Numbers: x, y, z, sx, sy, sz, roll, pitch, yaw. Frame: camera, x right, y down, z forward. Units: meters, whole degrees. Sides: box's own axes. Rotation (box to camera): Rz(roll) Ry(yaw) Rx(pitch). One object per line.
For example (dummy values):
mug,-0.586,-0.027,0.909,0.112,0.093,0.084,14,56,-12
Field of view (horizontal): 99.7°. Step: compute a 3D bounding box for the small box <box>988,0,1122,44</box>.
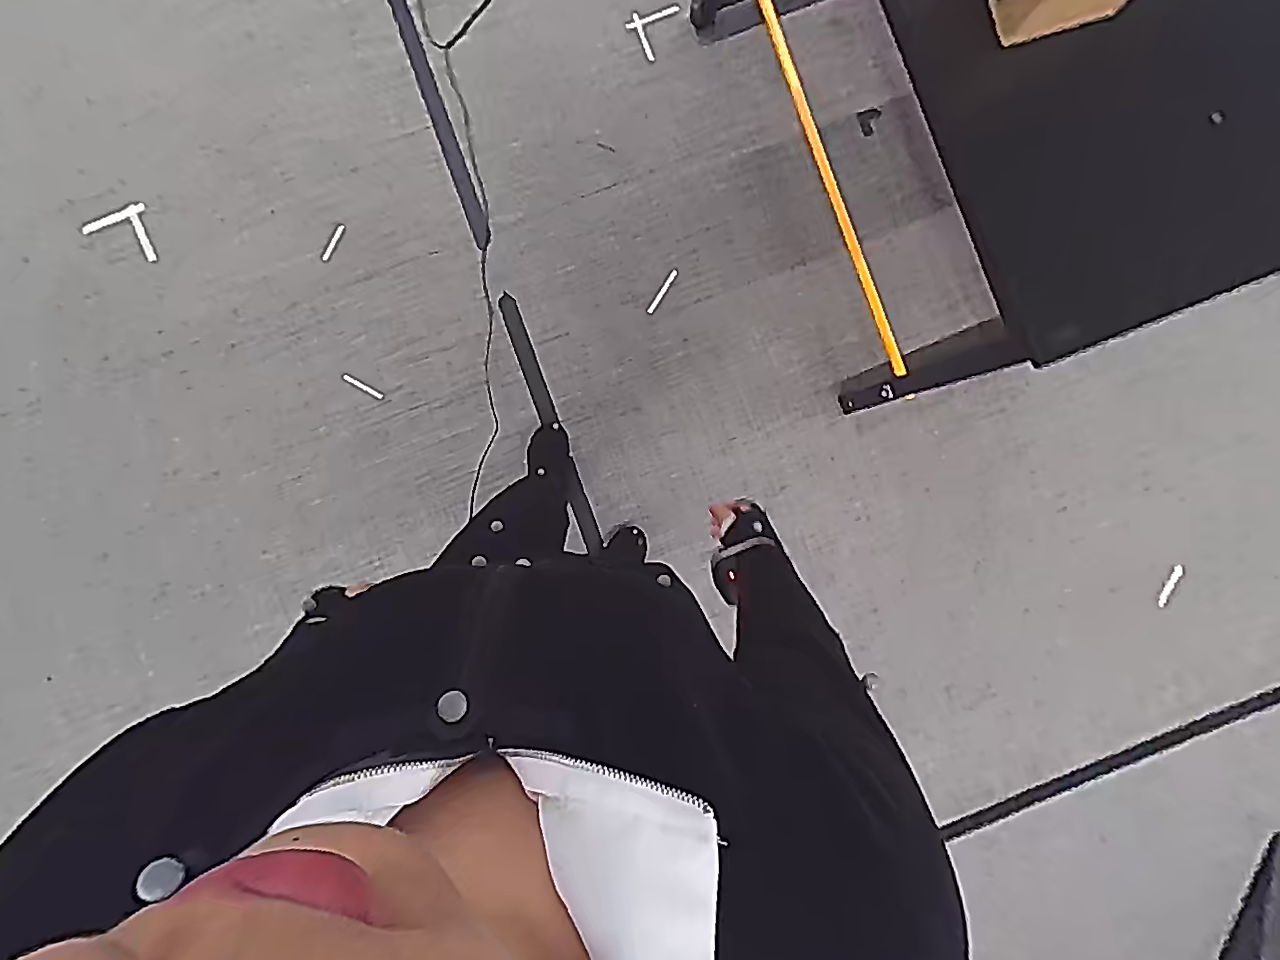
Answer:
small box,0.585,-0.726,0.703,0.179,0.176,0.168,-17,91,-2
